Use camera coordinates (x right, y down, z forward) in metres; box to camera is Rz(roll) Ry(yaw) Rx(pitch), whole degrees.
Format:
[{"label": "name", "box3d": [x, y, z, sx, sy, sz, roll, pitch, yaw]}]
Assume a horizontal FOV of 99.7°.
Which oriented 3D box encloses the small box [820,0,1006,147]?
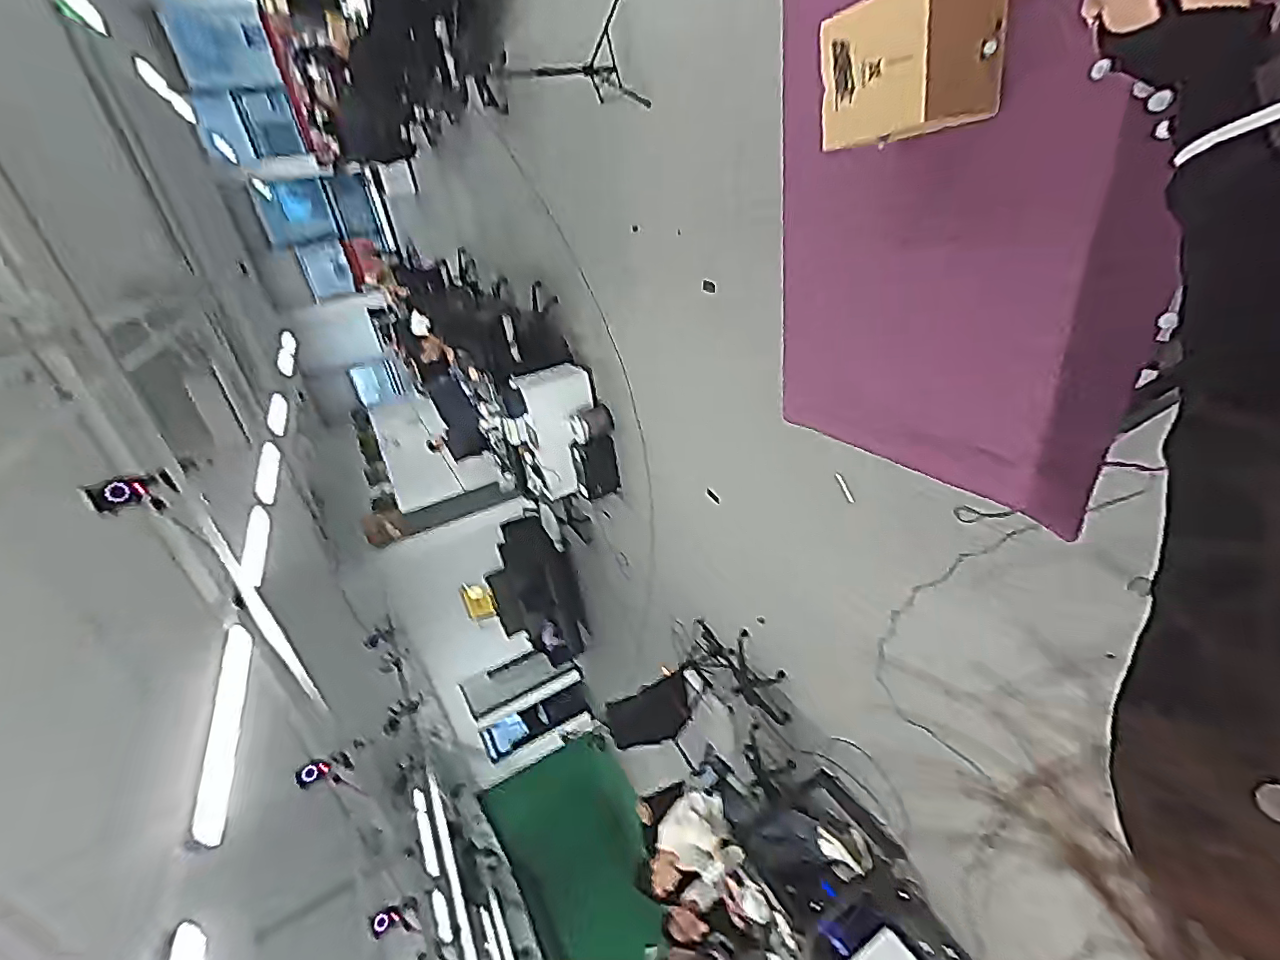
[{"label": "small box", "box3d": [0.390, -0.603, 0.788, 0.179, 0.176, 0.168, 30, 137, 56]}]
